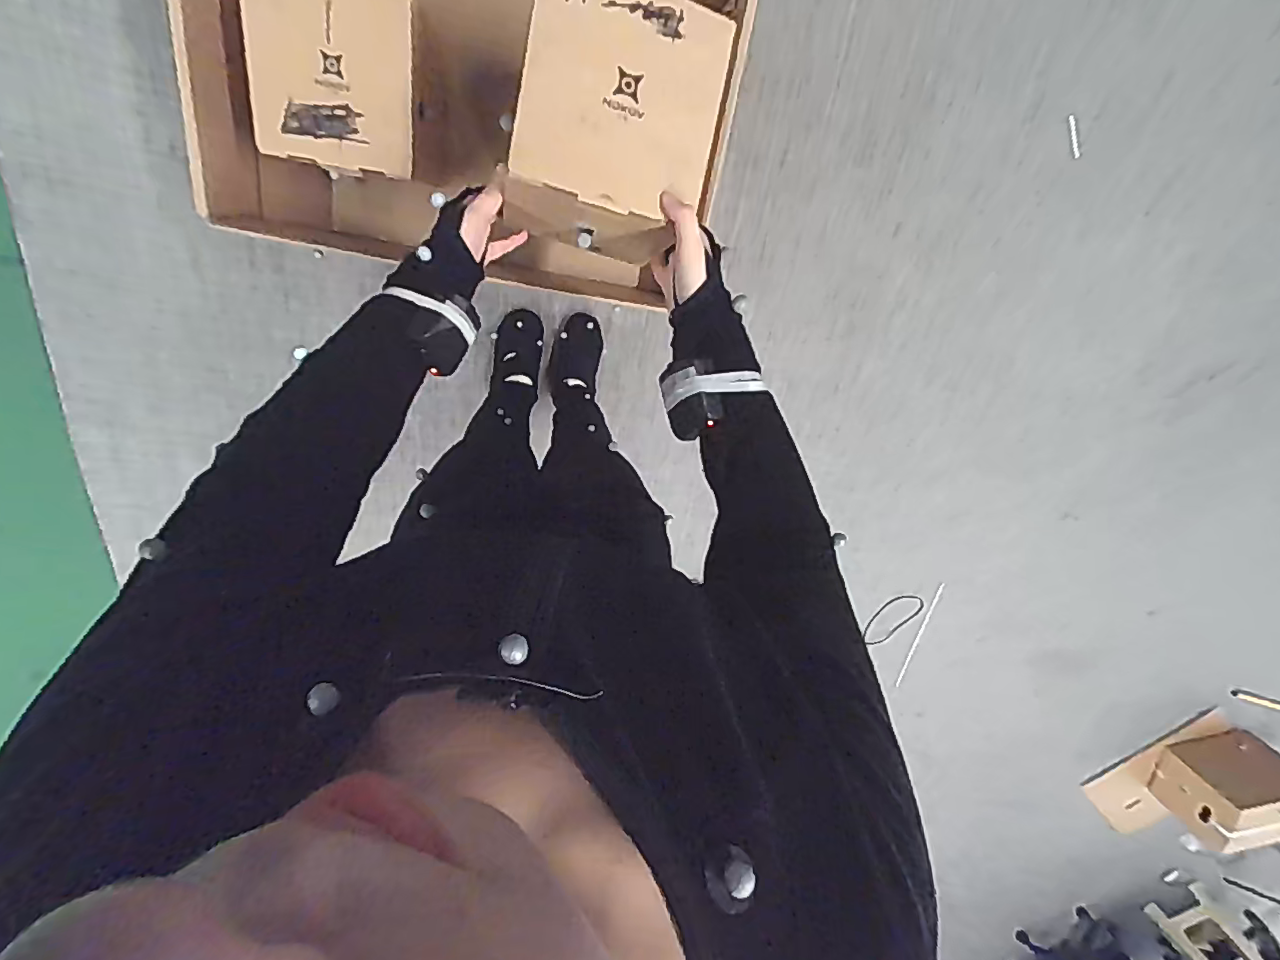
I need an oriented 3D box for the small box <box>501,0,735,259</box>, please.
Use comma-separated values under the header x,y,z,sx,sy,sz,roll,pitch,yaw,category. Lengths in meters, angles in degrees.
x,y,z,sx,sy,sz,roll,pitch,yaw,category
-0.034,-0.332,0.521,0.168,0.176,0.179,11,99,-16,small box
